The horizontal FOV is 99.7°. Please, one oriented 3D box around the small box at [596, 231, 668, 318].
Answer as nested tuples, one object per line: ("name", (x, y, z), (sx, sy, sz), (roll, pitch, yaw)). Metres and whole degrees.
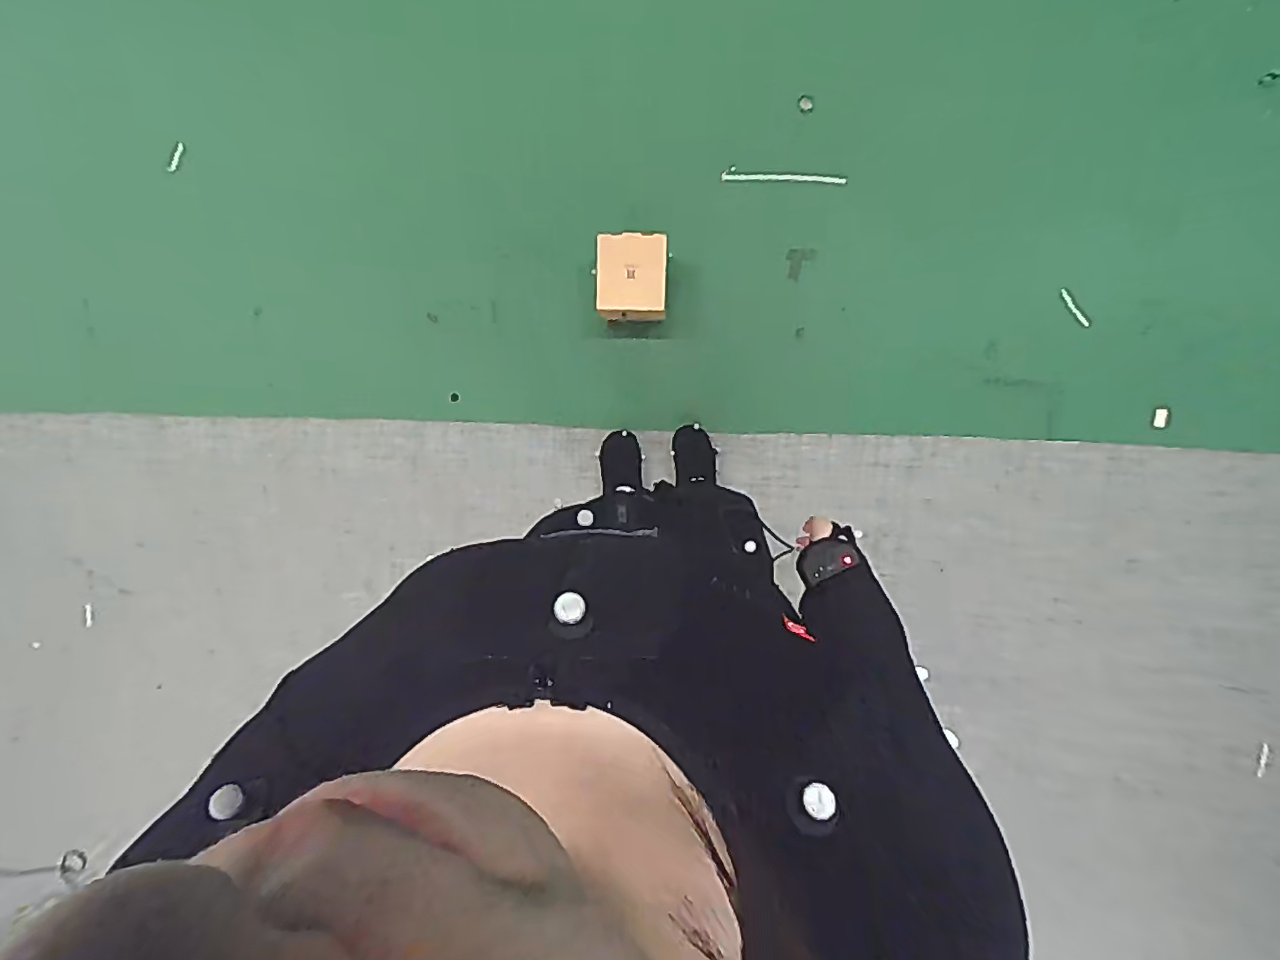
("small box", (-0.015, -0.506, 1.350), (0.168, 0.176, 0.179), (2, 98, 3))
